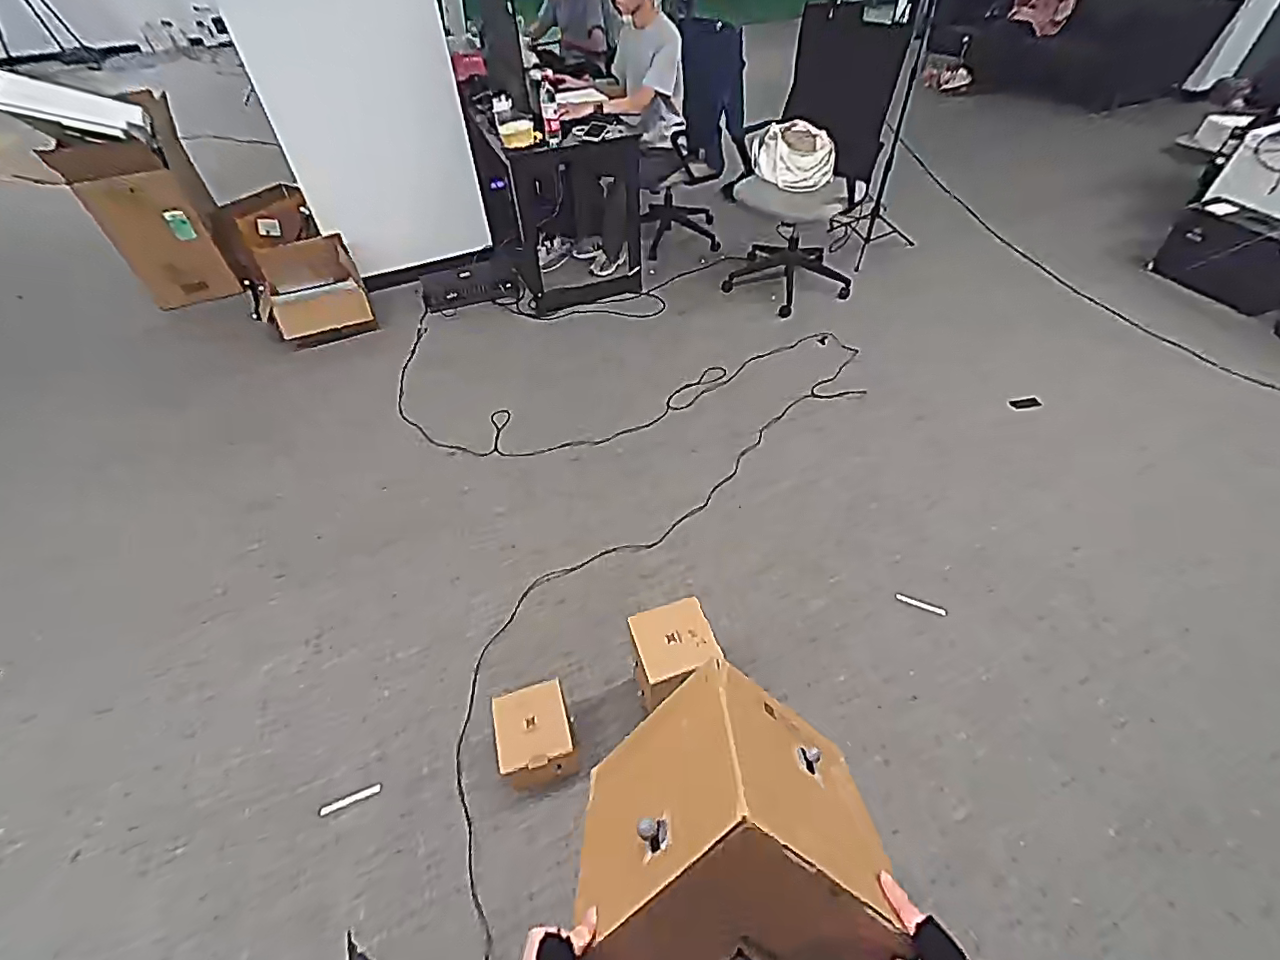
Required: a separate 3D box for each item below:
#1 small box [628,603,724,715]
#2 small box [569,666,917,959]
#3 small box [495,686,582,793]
[{"bbox_3d":[0.081,0.421,1.261,0.179,0.176,0.168,-15,49,-11],"label":"small box"},{"bbox_3d":[0.069,0.294,0.436,0.168,0.179,0.176,41,12,-10],"label":"small box"},{"bbox_3d":[-0.243,0.634,1.307,0.168,0.176,0.179,-14,48,-10],"label":"small box"}]
